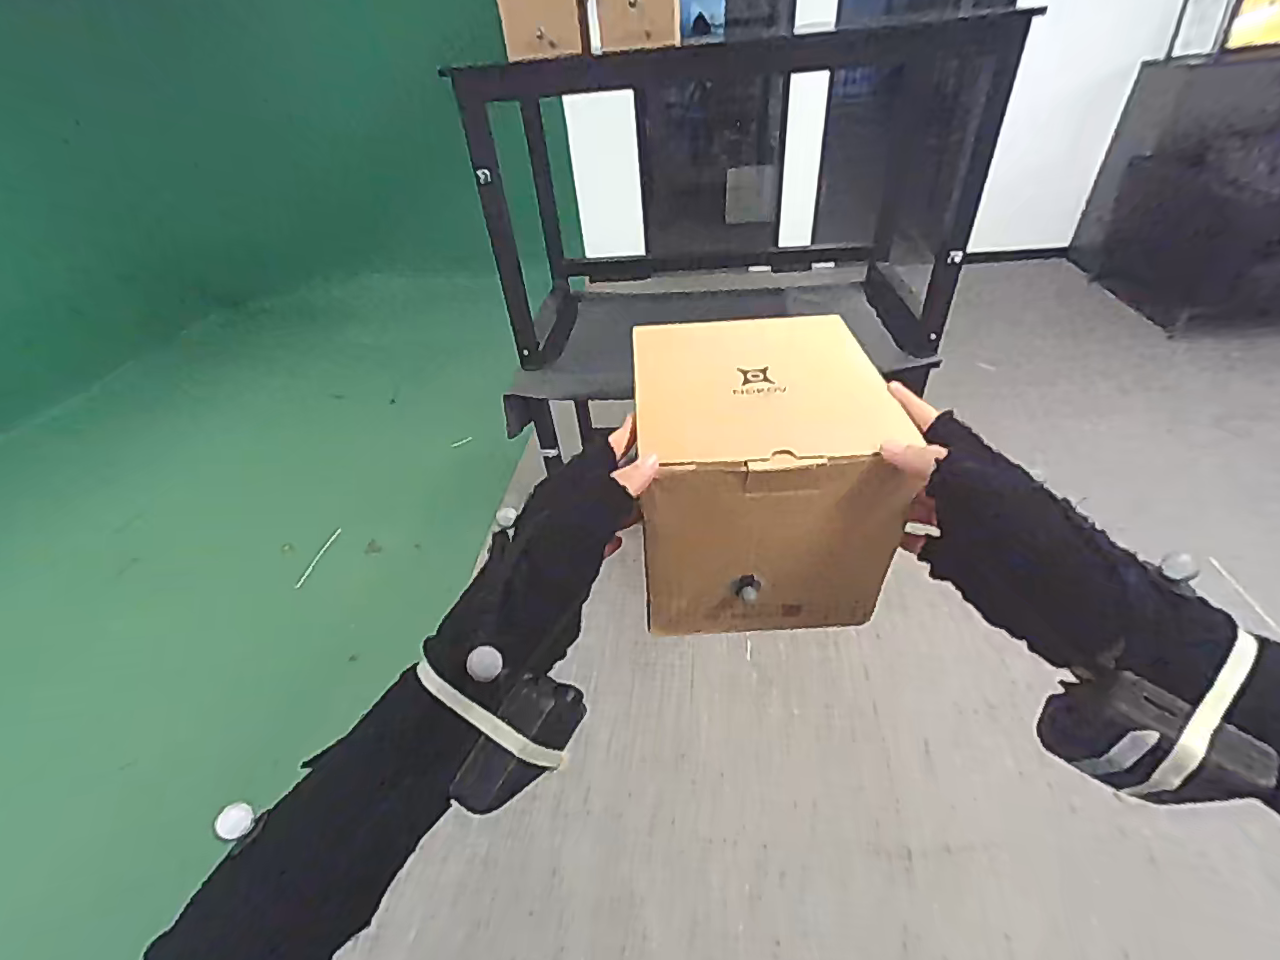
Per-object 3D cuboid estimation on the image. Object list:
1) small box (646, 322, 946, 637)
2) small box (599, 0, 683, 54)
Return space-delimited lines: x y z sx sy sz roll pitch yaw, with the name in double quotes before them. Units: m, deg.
"small box" 0.088 -0.003 0.412 0.168 0.176 0.179 -3 42 0
"small box" 0.005 -1.039 1.173 0.168 0.176 0.179 1 40 7
